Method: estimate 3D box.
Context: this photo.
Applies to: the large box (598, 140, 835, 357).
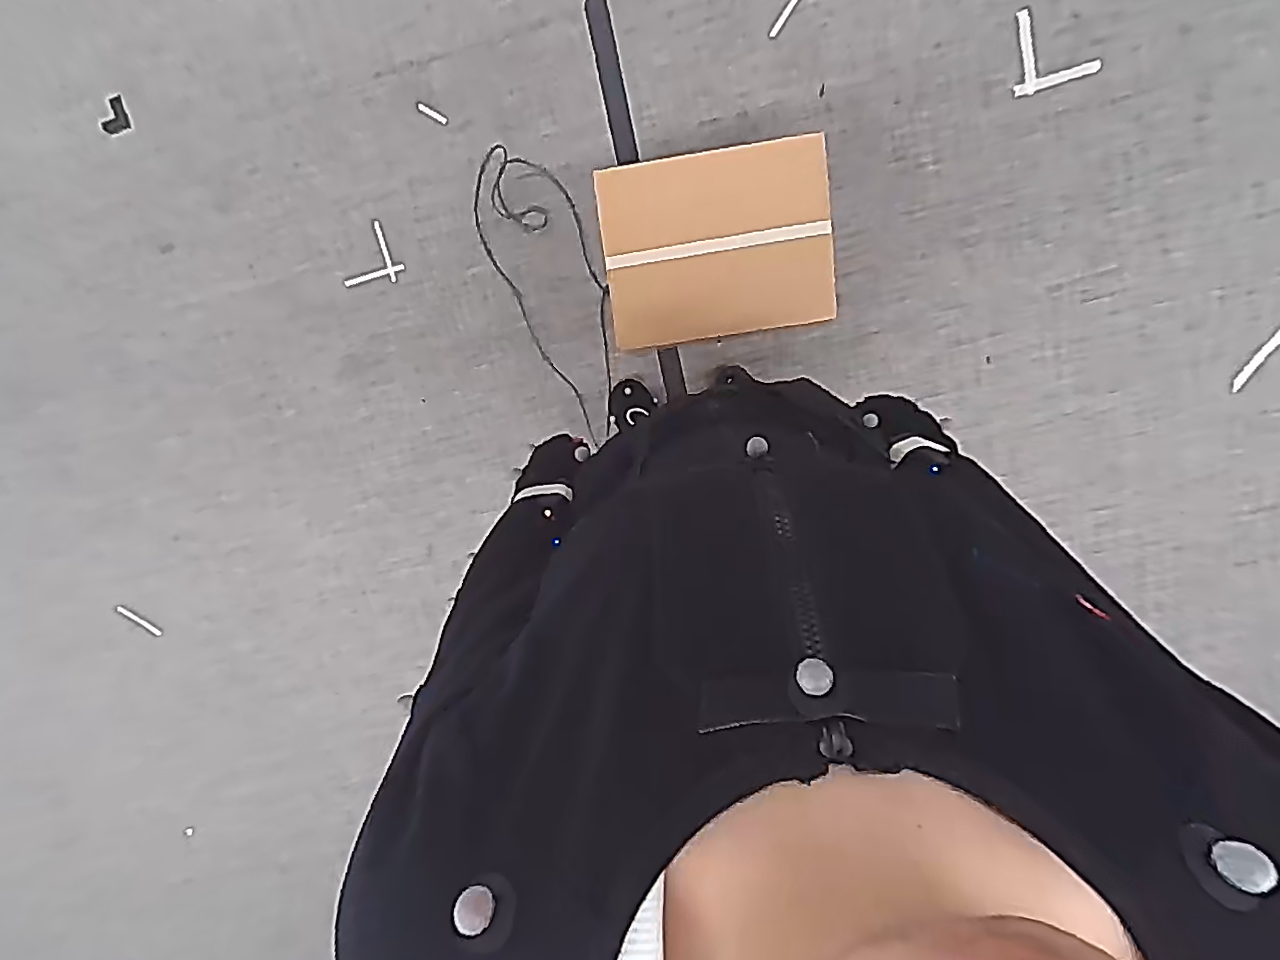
[{"bbox_3d":[0.145,-0.442,1.118,0.408,0.320,0.320,-7,102,3],"label":"large box"}]
